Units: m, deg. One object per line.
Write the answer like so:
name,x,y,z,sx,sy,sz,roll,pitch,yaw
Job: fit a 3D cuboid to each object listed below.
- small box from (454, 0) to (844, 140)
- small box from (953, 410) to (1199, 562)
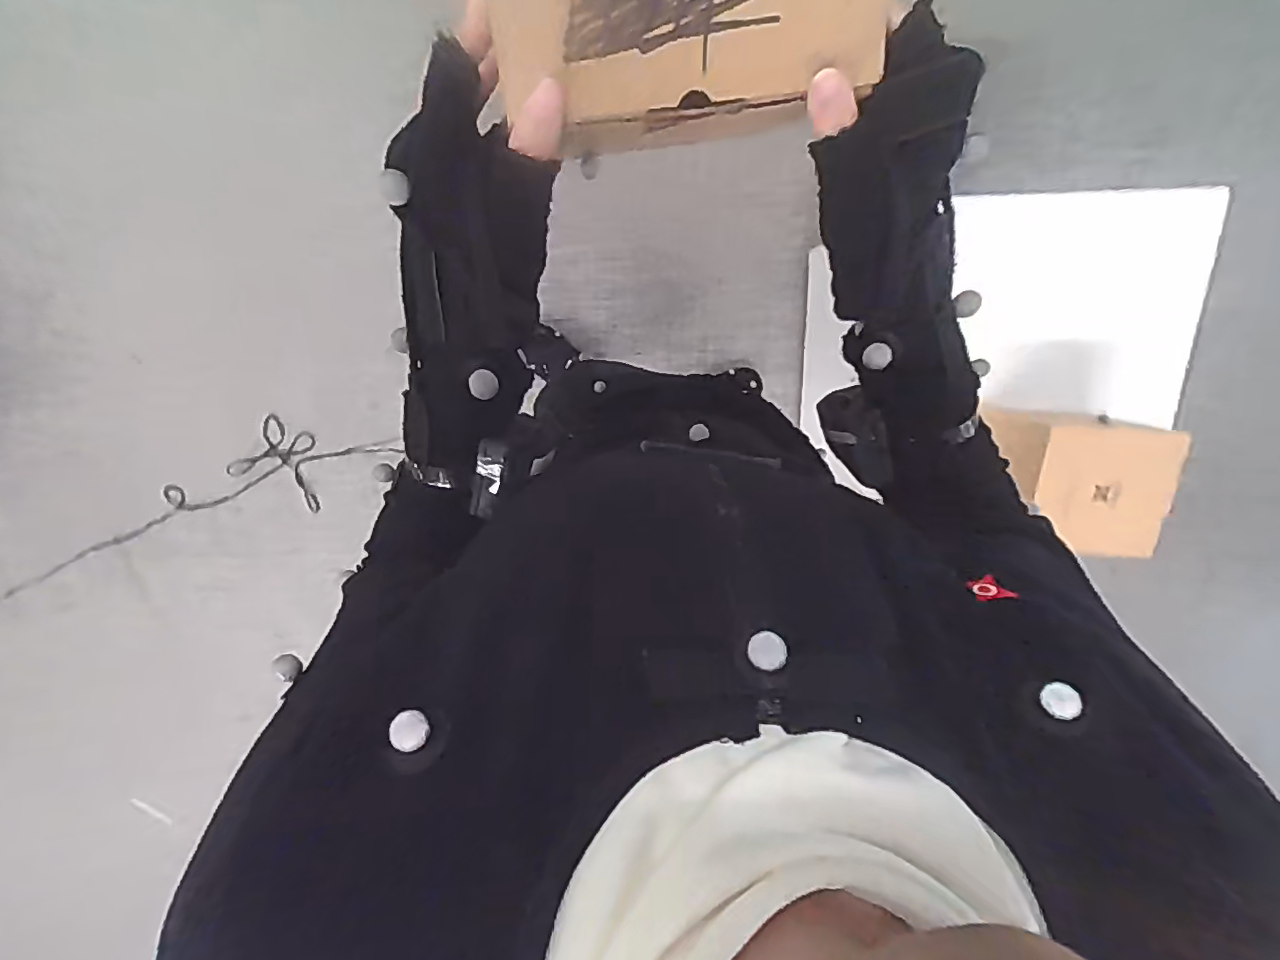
small box,-0.005,-0.285,0.272,0.168,0.176,0.179,-7,115,-1
small box,0.573,-0.001,0.738,0.179,0.176,0.168,4,105,0
